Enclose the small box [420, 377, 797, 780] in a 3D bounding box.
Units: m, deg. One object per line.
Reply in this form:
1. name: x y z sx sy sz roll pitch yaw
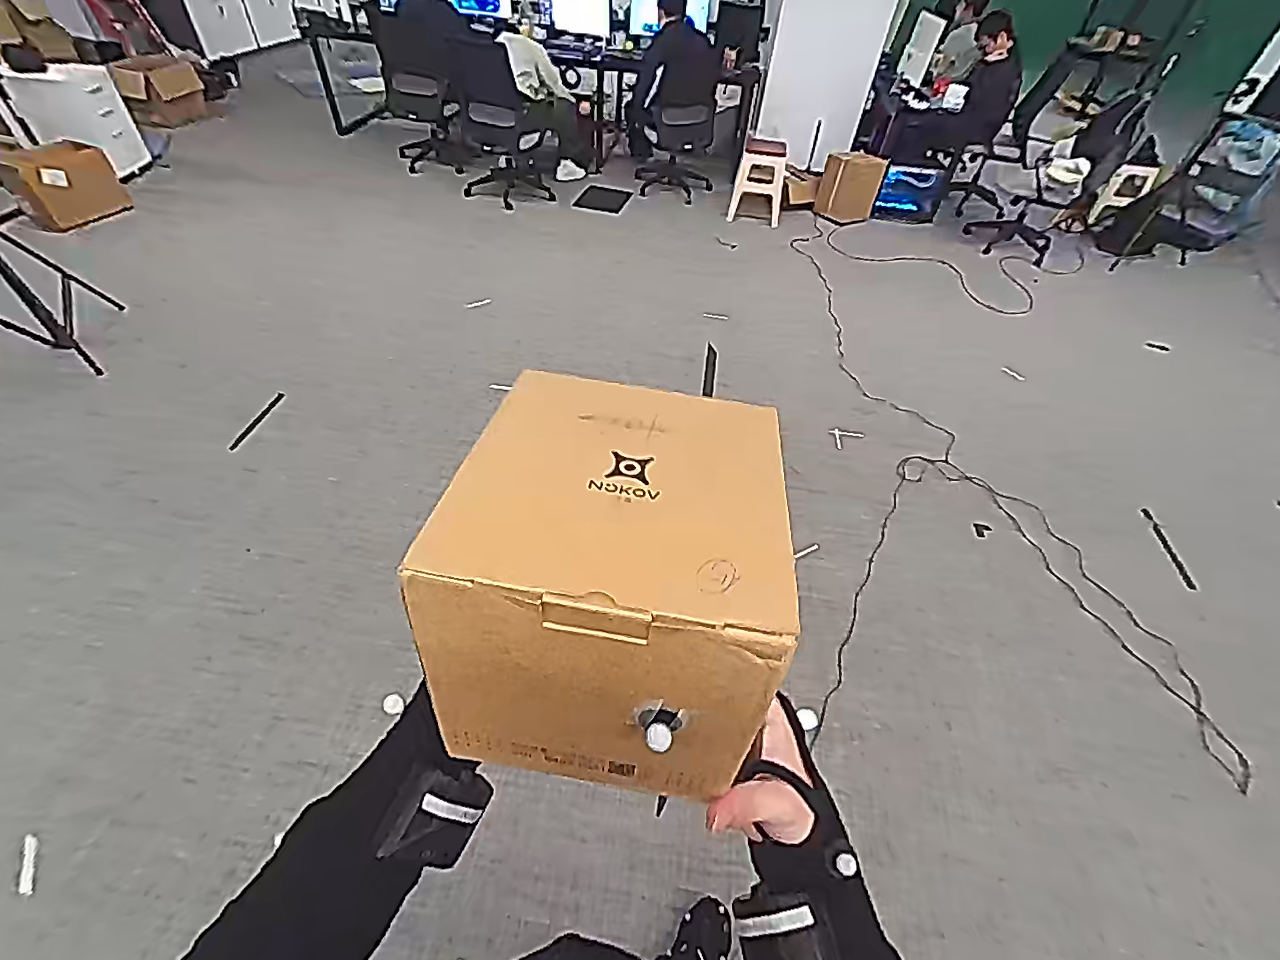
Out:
1. small box: -0.012 0.060 0.341 0.168 0.176 0.179 9 39 0
